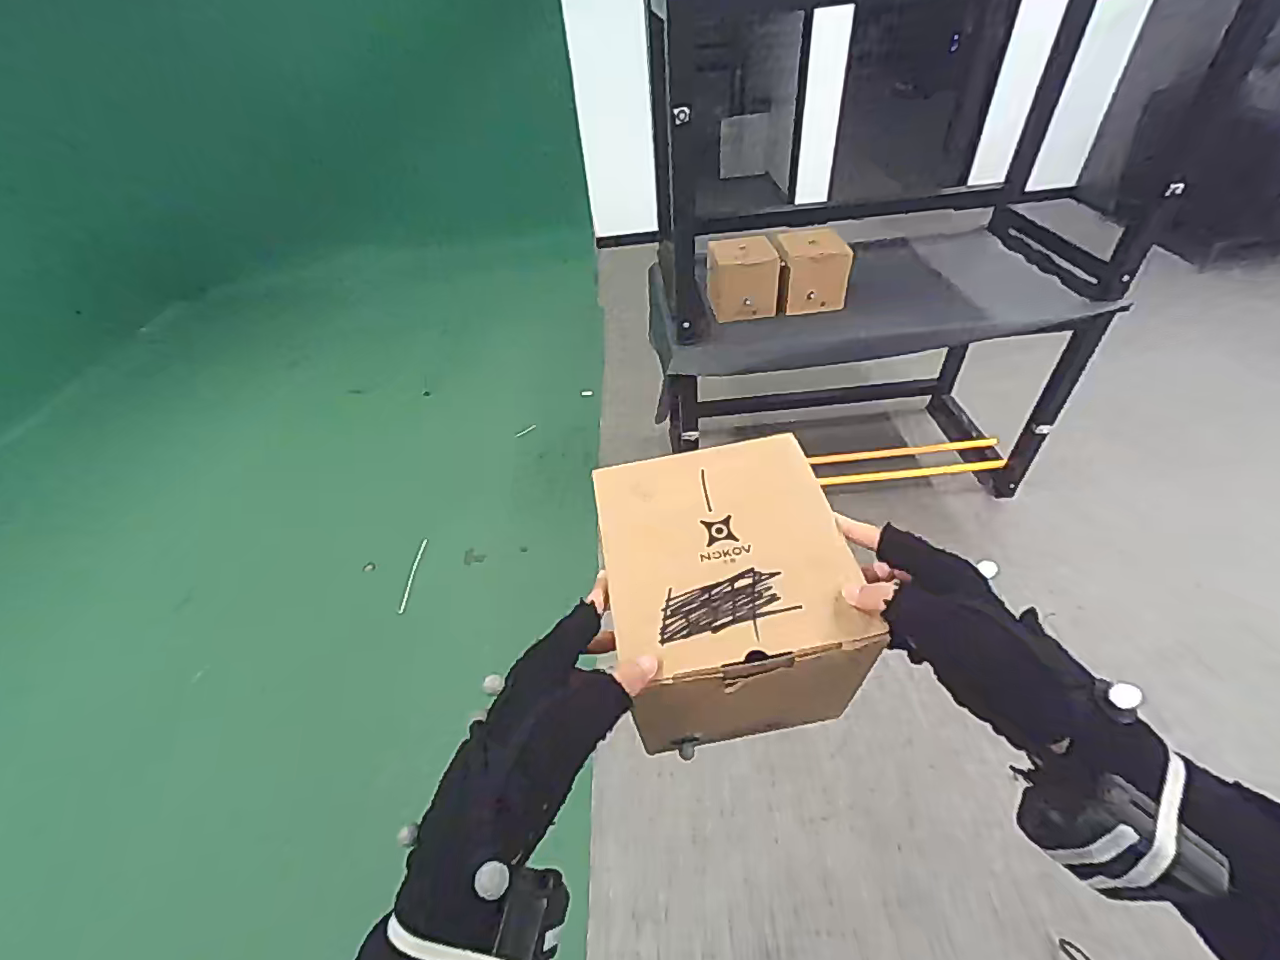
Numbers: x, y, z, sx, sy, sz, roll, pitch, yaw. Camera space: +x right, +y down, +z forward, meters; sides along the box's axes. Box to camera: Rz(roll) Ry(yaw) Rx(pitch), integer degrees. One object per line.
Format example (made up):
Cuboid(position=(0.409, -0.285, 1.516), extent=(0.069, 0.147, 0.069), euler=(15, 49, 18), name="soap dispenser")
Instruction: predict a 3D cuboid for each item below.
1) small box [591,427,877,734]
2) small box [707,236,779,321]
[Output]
Cuboid(position=(0.061, 0.088, 0.435), extent=(0.168, 0.176, 0.179), euler=(-10, 49, -1), name="small box")
Cuboid(position=(0.285, -0.572, 1.534), extent=(0.168, 0.176, 0.179), euler=(-7, 43, 0), name="small box")
